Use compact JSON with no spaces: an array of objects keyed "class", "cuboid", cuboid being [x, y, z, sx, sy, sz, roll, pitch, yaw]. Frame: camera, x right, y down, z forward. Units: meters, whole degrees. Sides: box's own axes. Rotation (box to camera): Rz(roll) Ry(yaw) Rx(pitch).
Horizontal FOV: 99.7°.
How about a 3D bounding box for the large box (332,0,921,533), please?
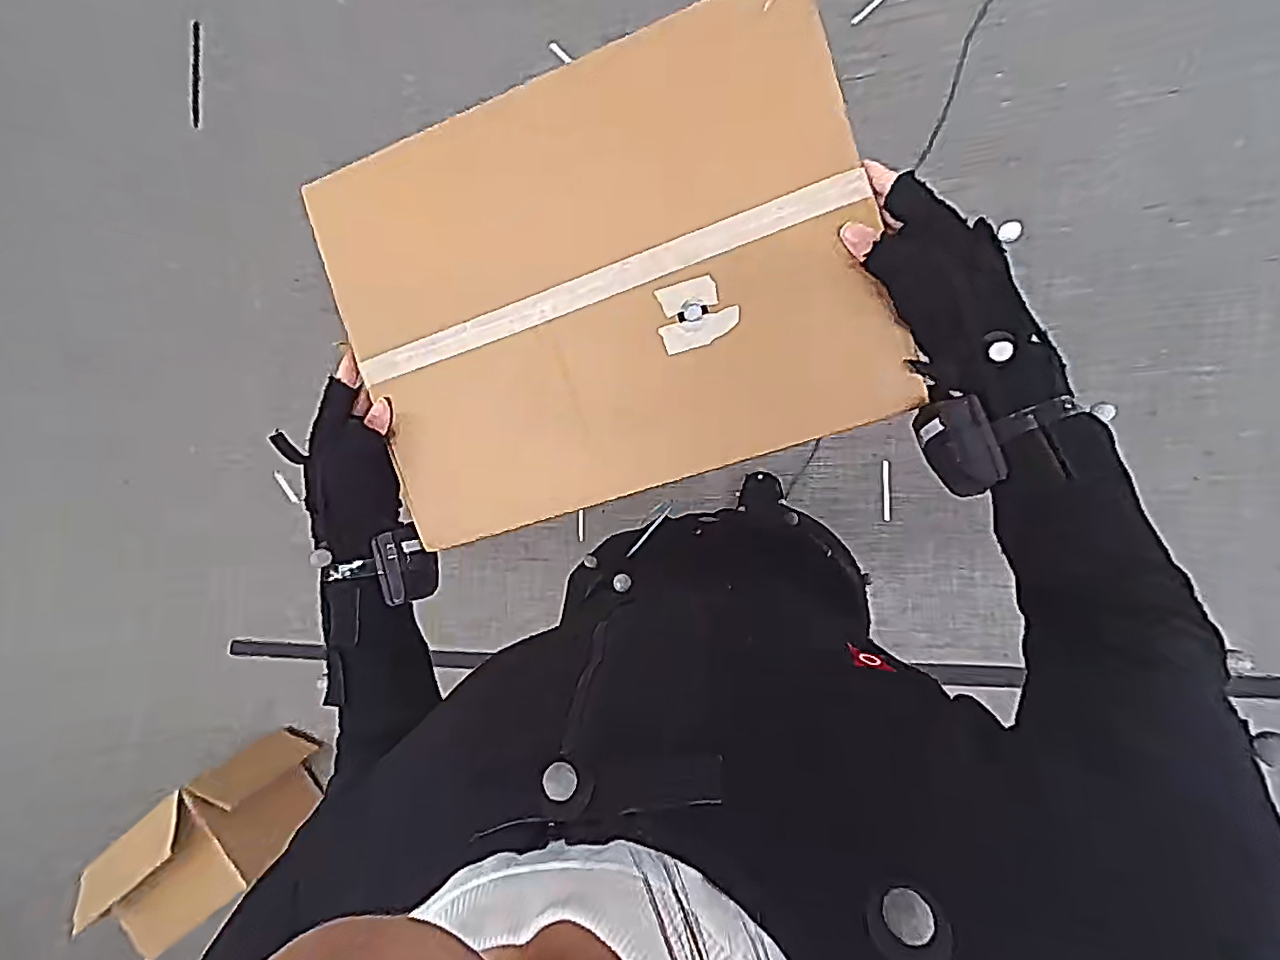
[{"class":"large box","cuboid":[-0.004,-0.169,0.564,0.408,0.320,0.320,-17,94,10]}]
